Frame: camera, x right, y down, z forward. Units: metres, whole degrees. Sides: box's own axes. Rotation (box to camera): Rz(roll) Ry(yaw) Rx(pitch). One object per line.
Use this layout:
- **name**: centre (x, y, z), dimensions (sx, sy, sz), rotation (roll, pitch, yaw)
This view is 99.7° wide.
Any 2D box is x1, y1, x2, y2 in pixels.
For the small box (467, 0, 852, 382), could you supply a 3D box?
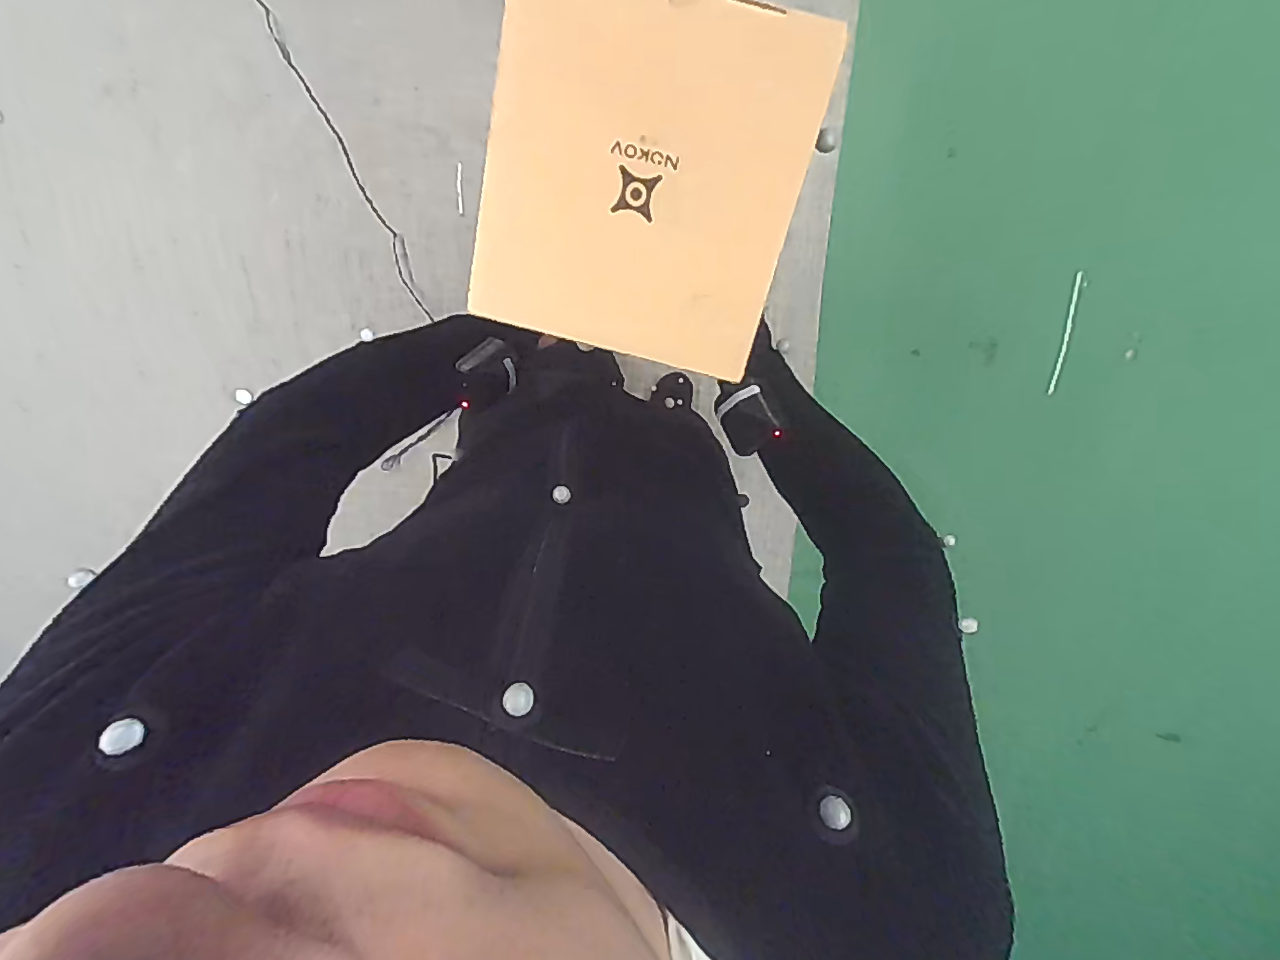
- **small box**: centre (0.007, -0.180, 0.350), dimensions (0.168, 0.176, 0.179), rotation (15, 110, 0)
